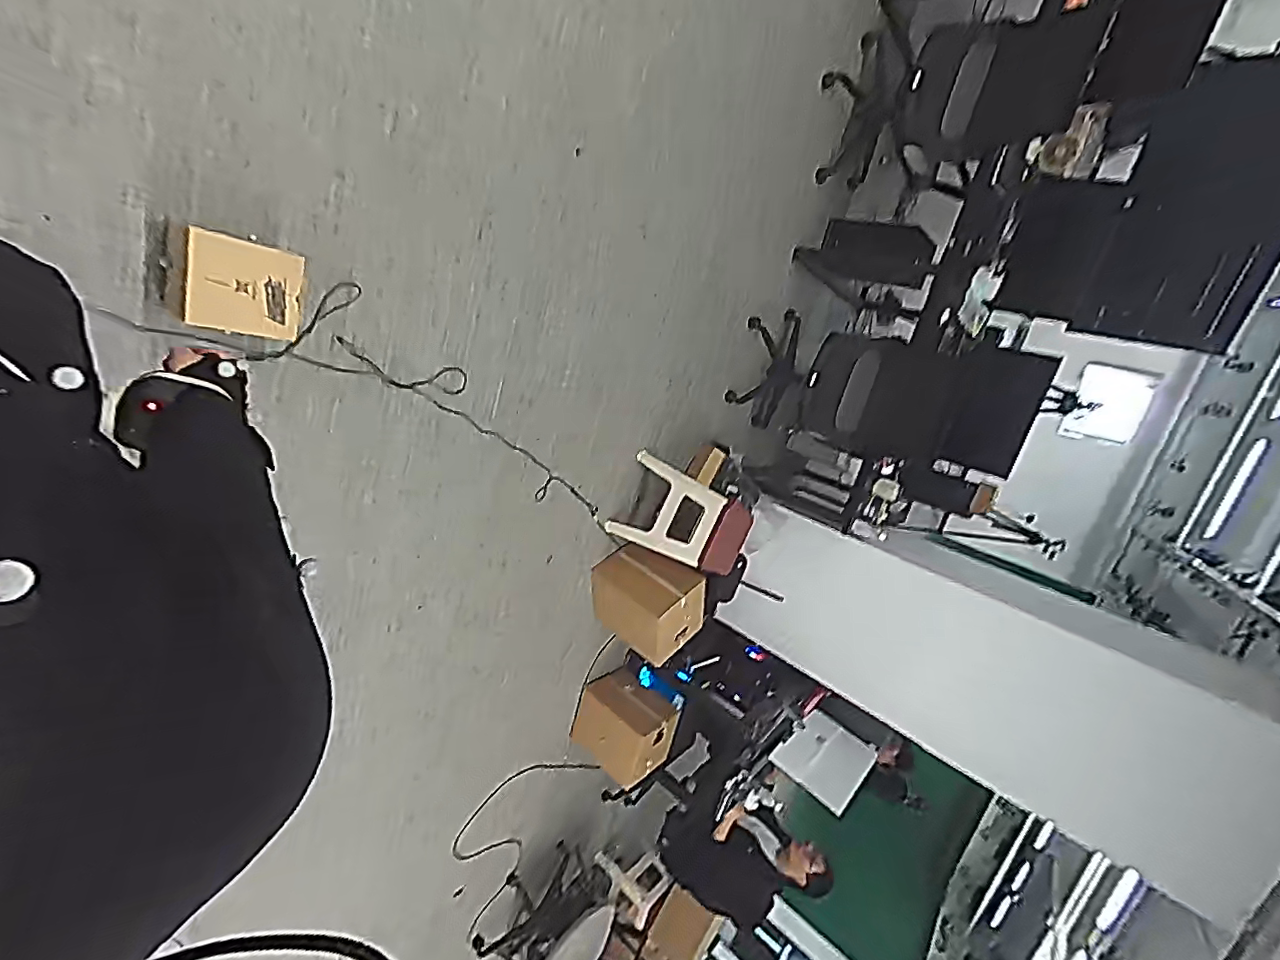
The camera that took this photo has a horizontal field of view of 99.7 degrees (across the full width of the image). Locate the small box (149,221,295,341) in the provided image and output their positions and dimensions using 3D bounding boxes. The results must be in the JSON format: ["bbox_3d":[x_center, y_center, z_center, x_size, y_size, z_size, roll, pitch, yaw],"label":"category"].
[{"bbox_3d":[-0.792,-0.377,1.025,0.179,0.176,0.168,-1,111,-52],"label":"small box"}]
